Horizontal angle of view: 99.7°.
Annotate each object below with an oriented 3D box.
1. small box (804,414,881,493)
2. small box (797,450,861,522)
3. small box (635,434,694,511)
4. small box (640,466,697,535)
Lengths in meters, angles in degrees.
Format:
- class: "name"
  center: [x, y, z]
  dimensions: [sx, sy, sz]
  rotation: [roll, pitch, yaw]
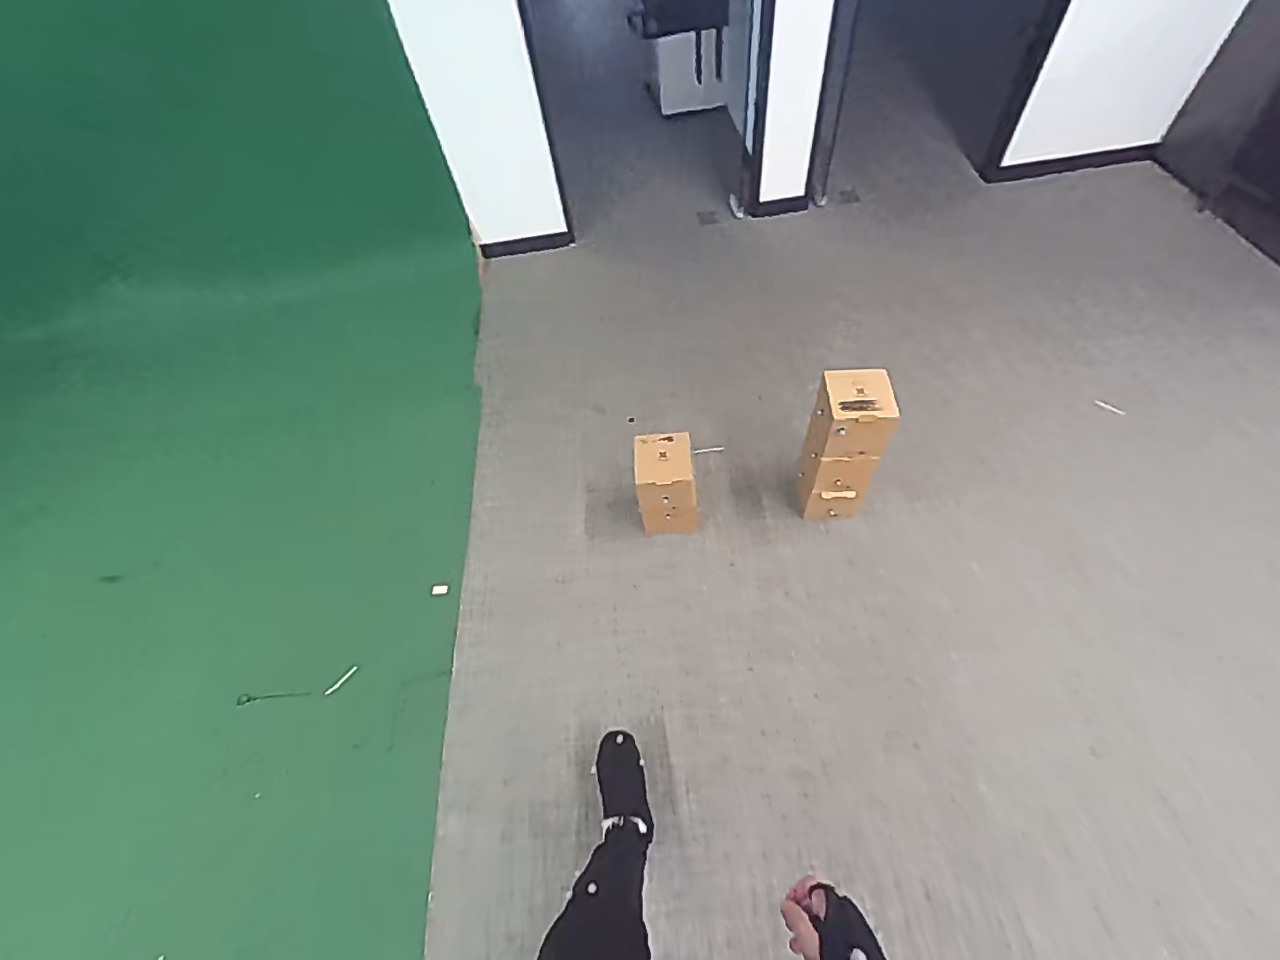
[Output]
- class: "small box"
  center: [0.595, -0.077, 1.611]
  dimensions: [0.168, 0.176, 0.179]
  rotation: [-2, 56, 5]
- class: "small box"
  center: [0.603, 0.016, 1.742]
  dimensions: [0.168, 0.176, 0.179]
  rotation: [1, 57, 10]
- class: "small box"
  center: [0.075, -0.016, 1.630]
  dimensions: [0.168, 0.176, 0.179]
  rotation: [-3, 57, 4]
- class: "small box"
  center: [0.096, 0.072, 1.767]
  dimensions: [0.179, 0.176, 0.168]
  rotation: [-3, 56, 4]
